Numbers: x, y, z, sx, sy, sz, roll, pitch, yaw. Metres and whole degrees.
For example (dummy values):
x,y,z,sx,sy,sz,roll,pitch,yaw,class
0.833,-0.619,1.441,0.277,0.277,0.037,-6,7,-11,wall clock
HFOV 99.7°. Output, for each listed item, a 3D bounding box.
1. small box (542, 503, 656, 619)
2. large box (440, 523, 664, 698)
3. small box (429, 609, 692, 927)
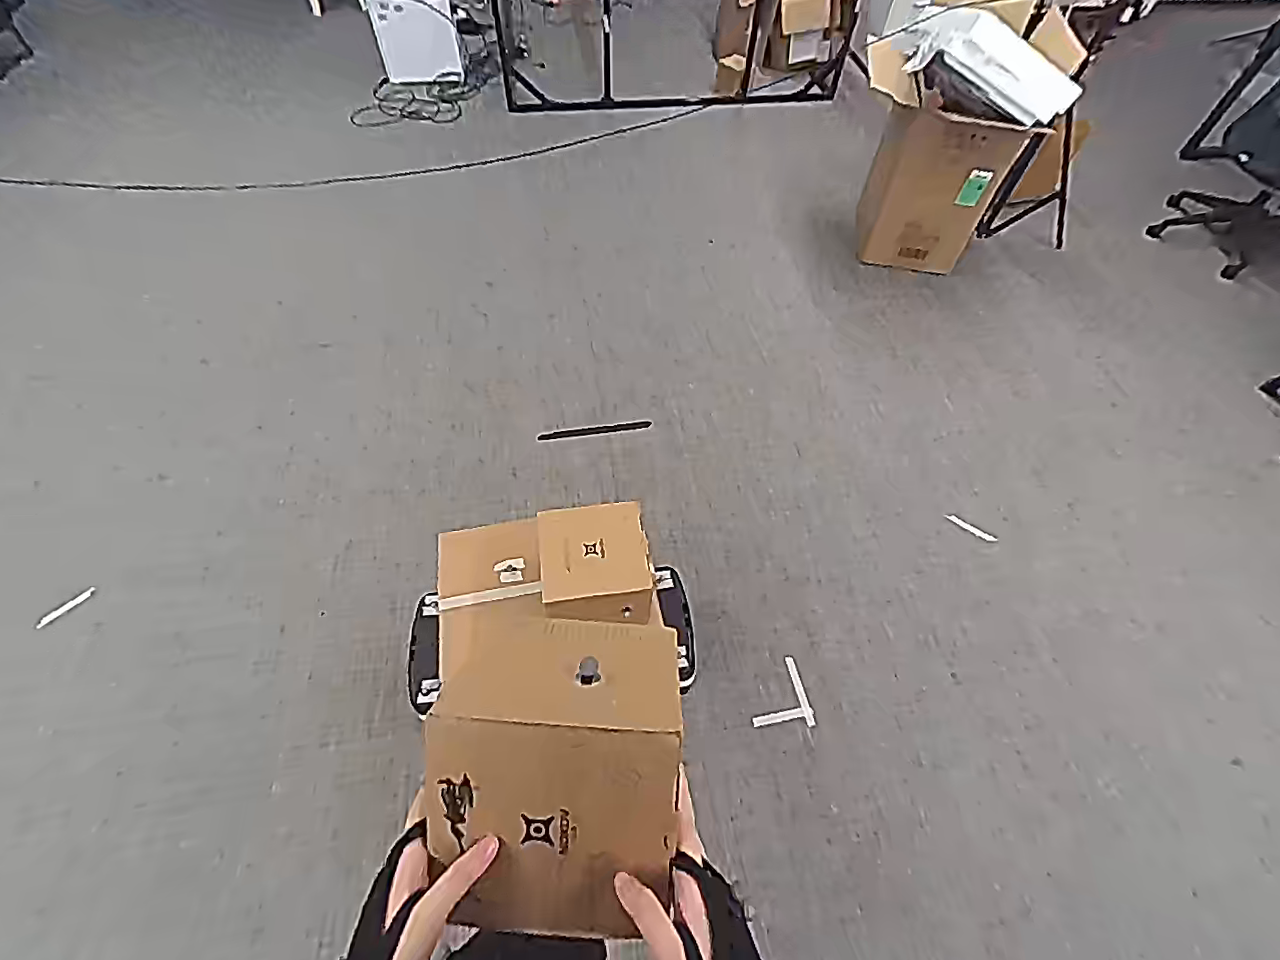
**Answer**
x,y,z,sx,sy,sz,roll,pitch,yaw,class
-0.073,0.157,0.942,0.179,0.176,0.168,-6,57,-5,small box
-0.172,0.294,1.142,0.408,0.320,0.320,-9,56,-7,large box
-0.057,0.218,0.450,0.179,0.176,0.168,4,98,0,small box
